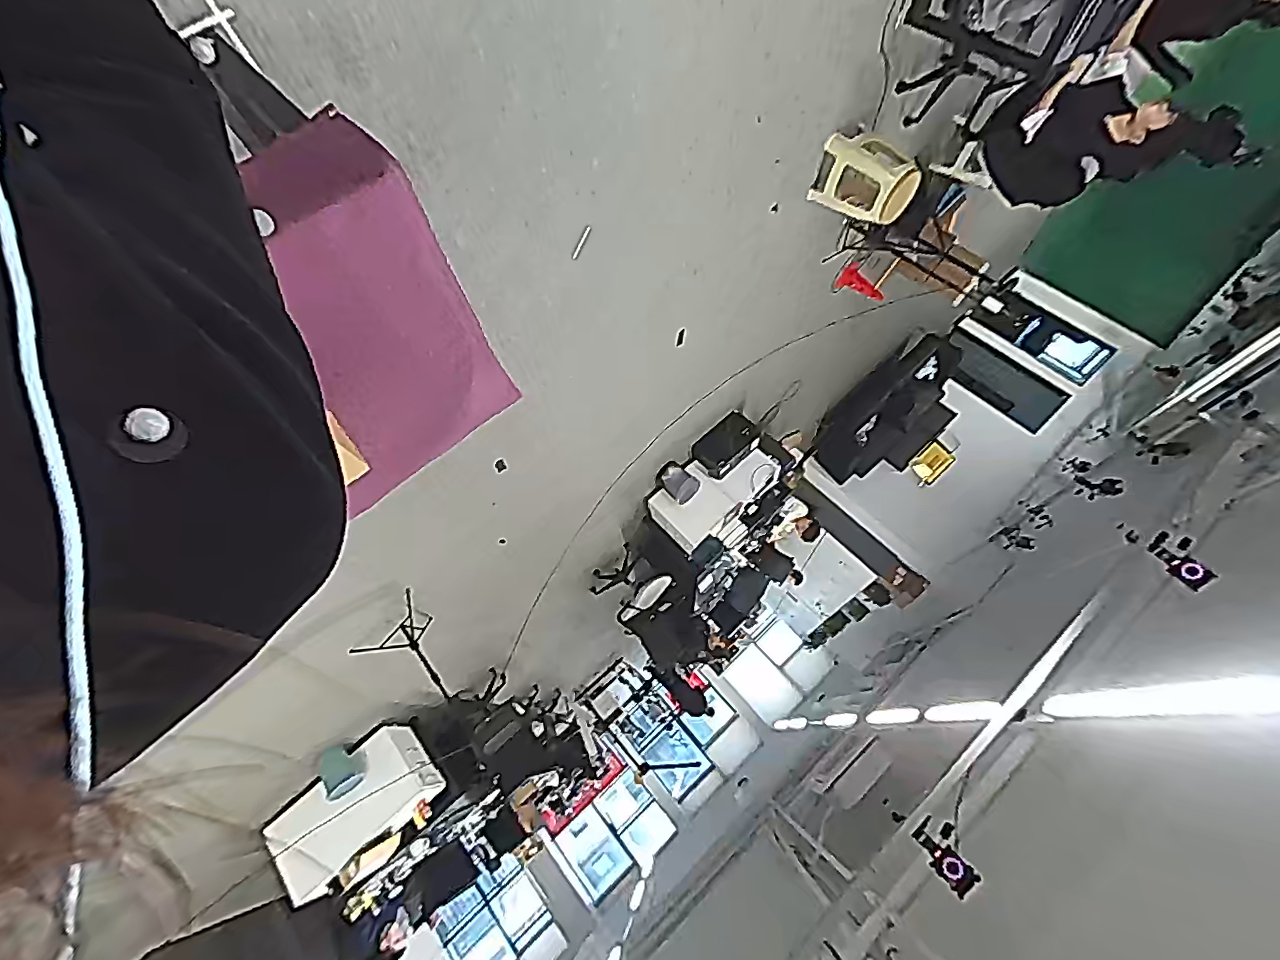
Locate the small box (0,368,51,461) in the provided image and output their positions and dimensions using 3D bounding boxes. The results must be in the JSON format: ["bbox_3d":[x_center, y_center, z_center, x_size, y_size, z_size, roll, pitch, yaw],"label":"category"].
[{"bbox_3d":[-1.352,-0.144,1.065,0.168,0.176,0.179,-40,158,-14],"label":"small box"}]
